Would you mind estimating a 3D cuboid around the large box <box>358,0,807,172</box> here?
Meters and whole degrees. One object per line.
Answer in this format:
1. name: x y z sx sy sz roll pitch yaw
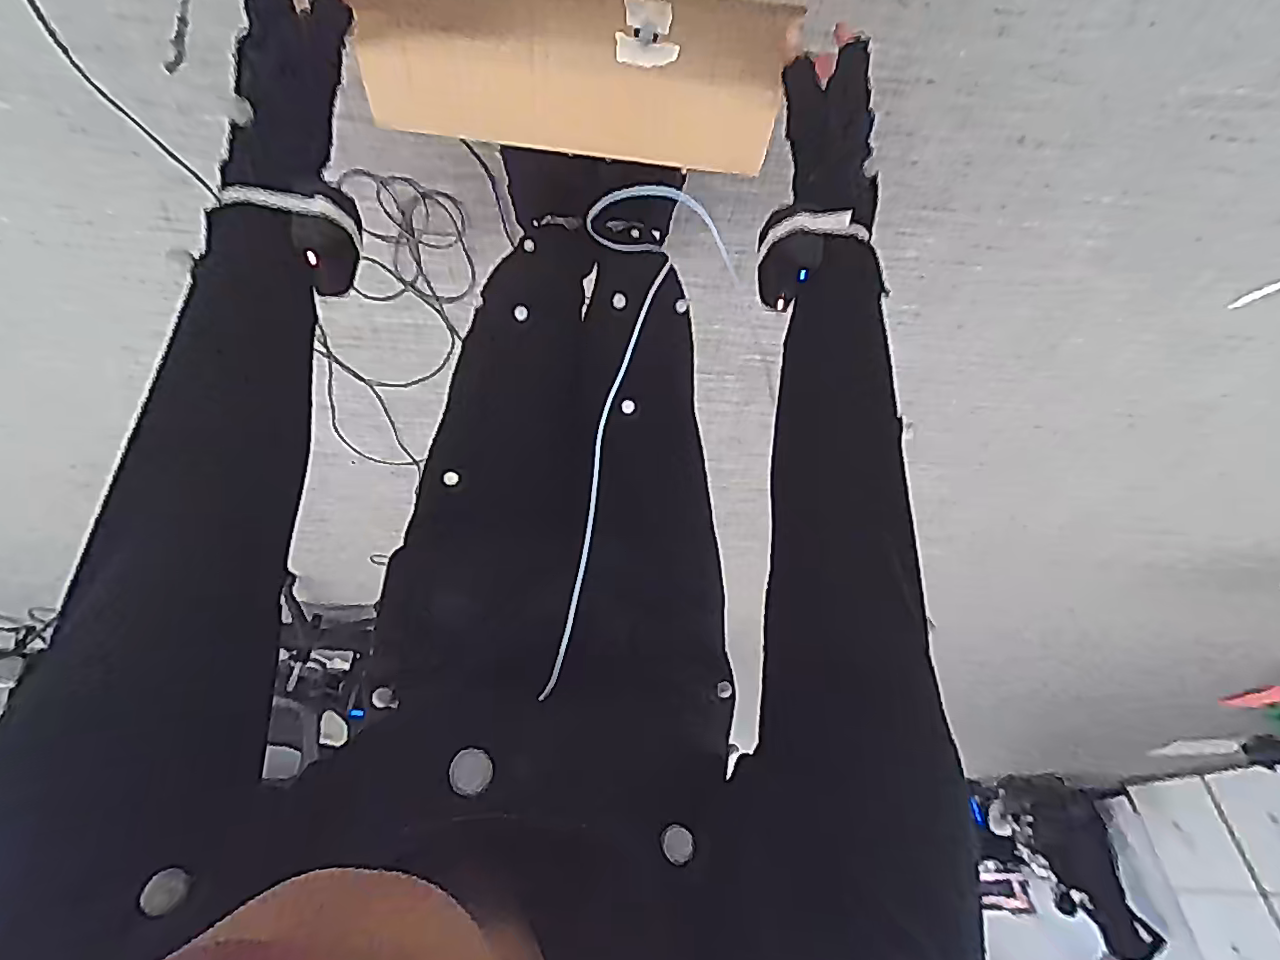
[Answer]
1. large box: -0.049 -0.559 0.546 0.408 0.320 0.320 4 144 -5
